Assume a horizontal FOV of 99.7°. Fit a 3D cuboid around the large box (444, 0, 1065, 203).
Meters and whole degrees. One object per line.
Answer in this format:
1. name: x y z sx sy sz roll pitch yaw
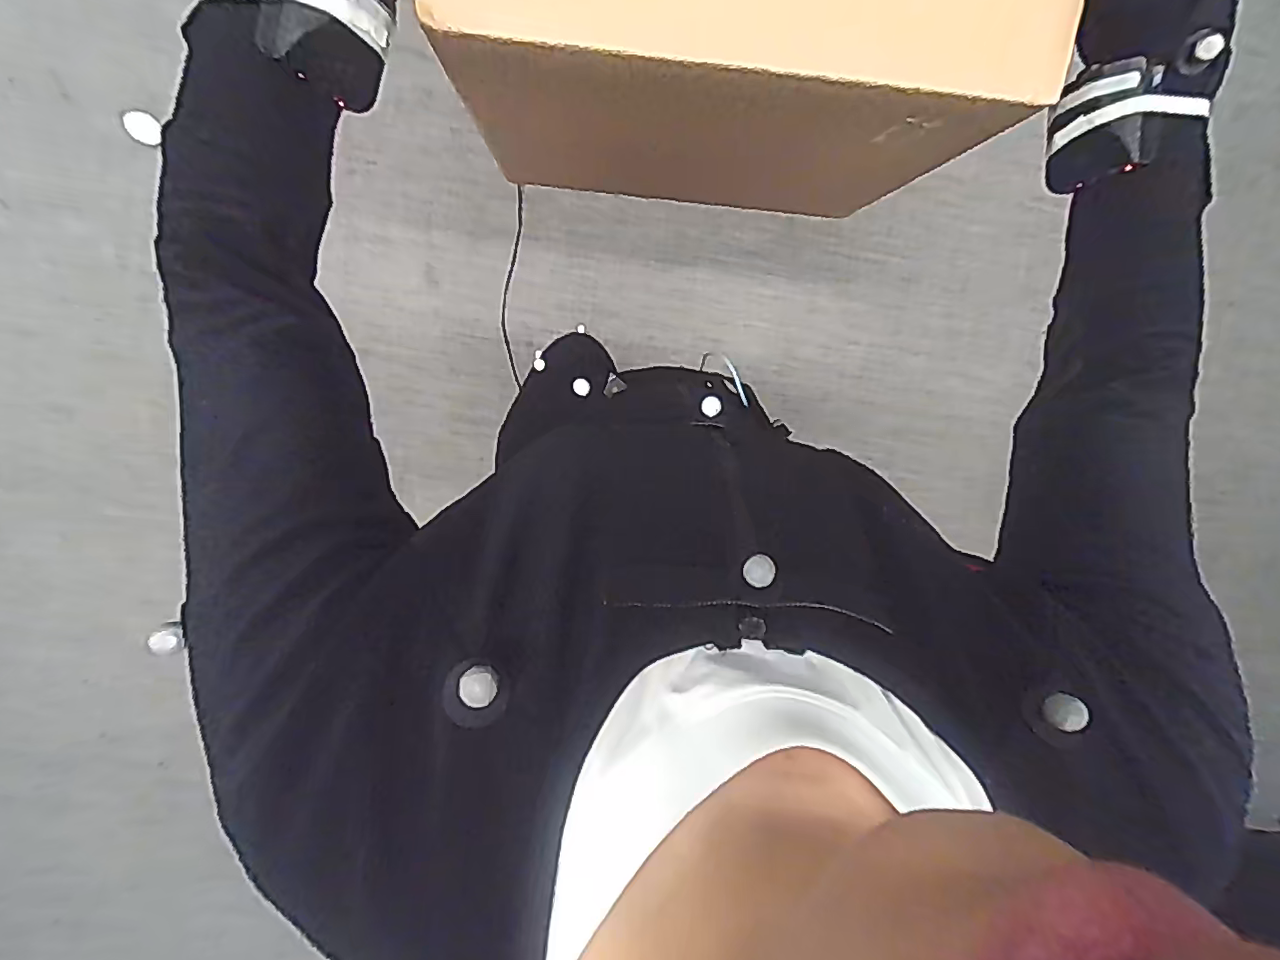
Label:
1. large box: 0.071 -0.450 0.453 0.408 0.320 0.320 3 104 -6
